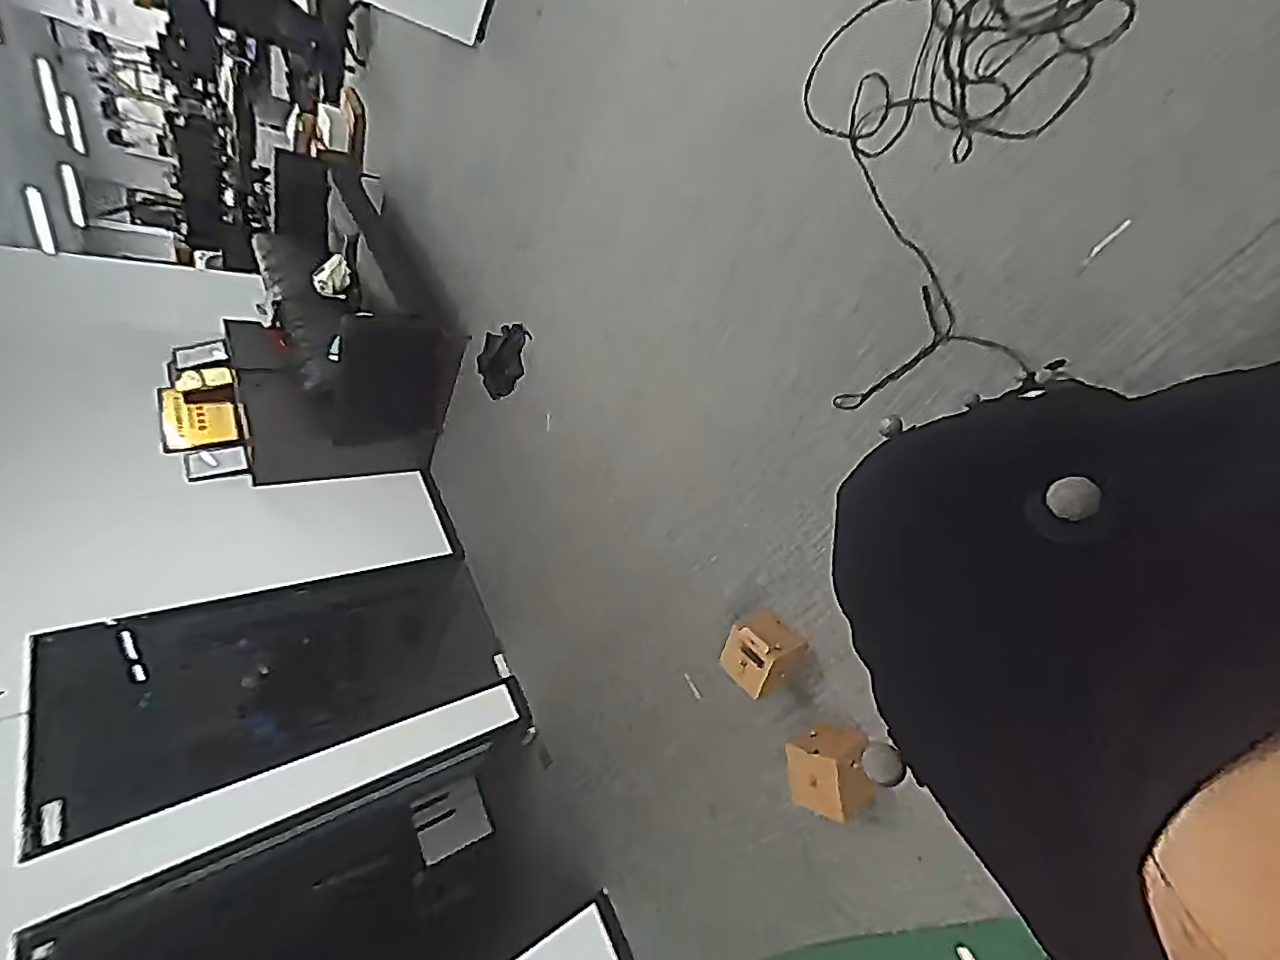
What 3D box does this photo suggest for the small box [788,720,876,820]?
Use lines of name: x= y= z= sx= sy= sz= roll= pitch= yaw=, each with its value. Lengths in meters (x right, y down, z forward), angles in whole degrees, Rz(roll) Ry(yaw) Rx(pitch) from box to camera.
small box: x=0.550 y=0.815 z=1.546 sx=0.168 sy=0.176 sz=0.179 roll=-8 pitch=91 yaw=52
